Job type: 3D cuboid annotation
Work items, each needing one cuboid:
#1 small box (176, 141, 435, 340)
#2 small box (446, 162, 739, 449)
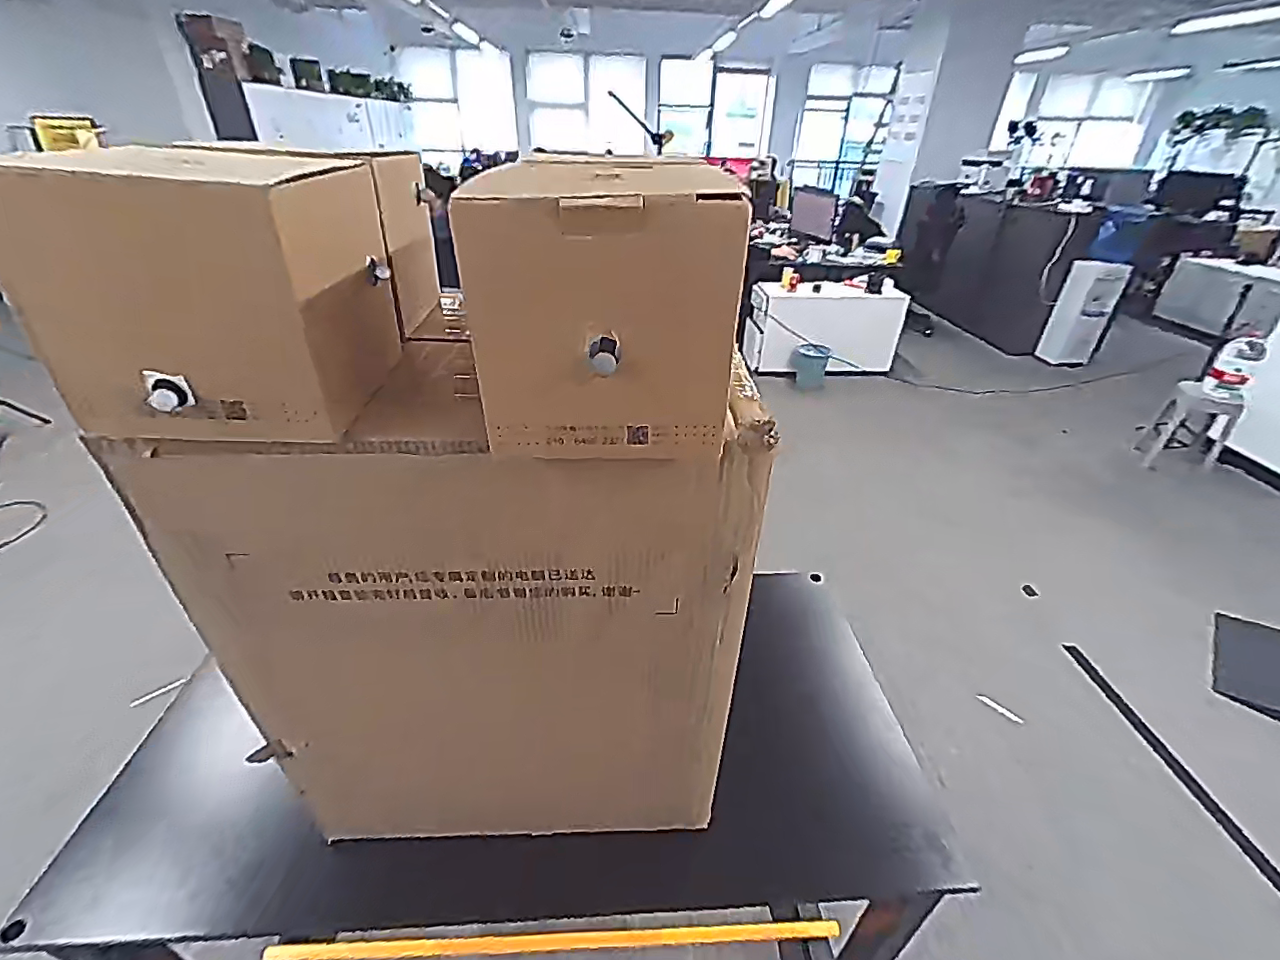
[{"bbox_3d":[-0.329,-0.258,0.580,0.168,0.176,0.179,-1,31,-6],"label":"small box"},{"bbox_3d":[-0.026,-0.133,0.407,0.168,0.176,0.179,-1,34,-1],"label":"small box"}]
